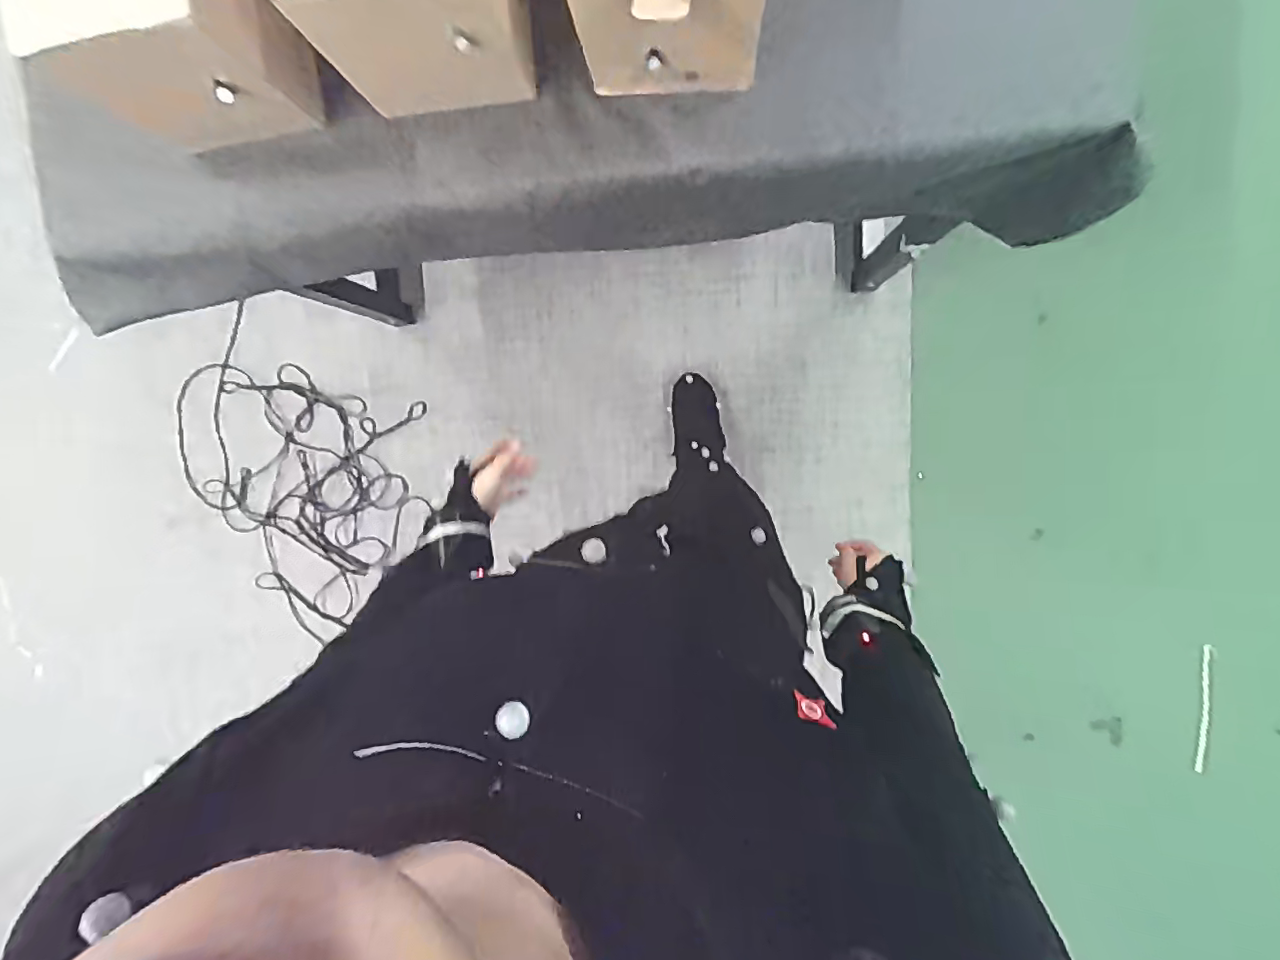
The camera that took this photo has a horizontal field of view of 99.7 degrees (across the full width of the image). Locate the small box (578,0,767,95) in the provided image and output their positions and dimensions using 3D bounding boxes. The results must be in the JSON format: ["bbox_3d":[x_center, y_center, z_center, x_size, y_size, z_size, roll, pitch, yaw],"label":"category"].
[{"bbox_3d":[0.029,-0.485,0.481,0.168,0.176,0.179,2,96,5],"label":"small box"}]

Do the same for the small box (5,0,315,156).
[{"bbox_3d":[-0.453,-0.454,0.530,0.179,0.176,0.168,-7,93,7],"label":"small box"}]
